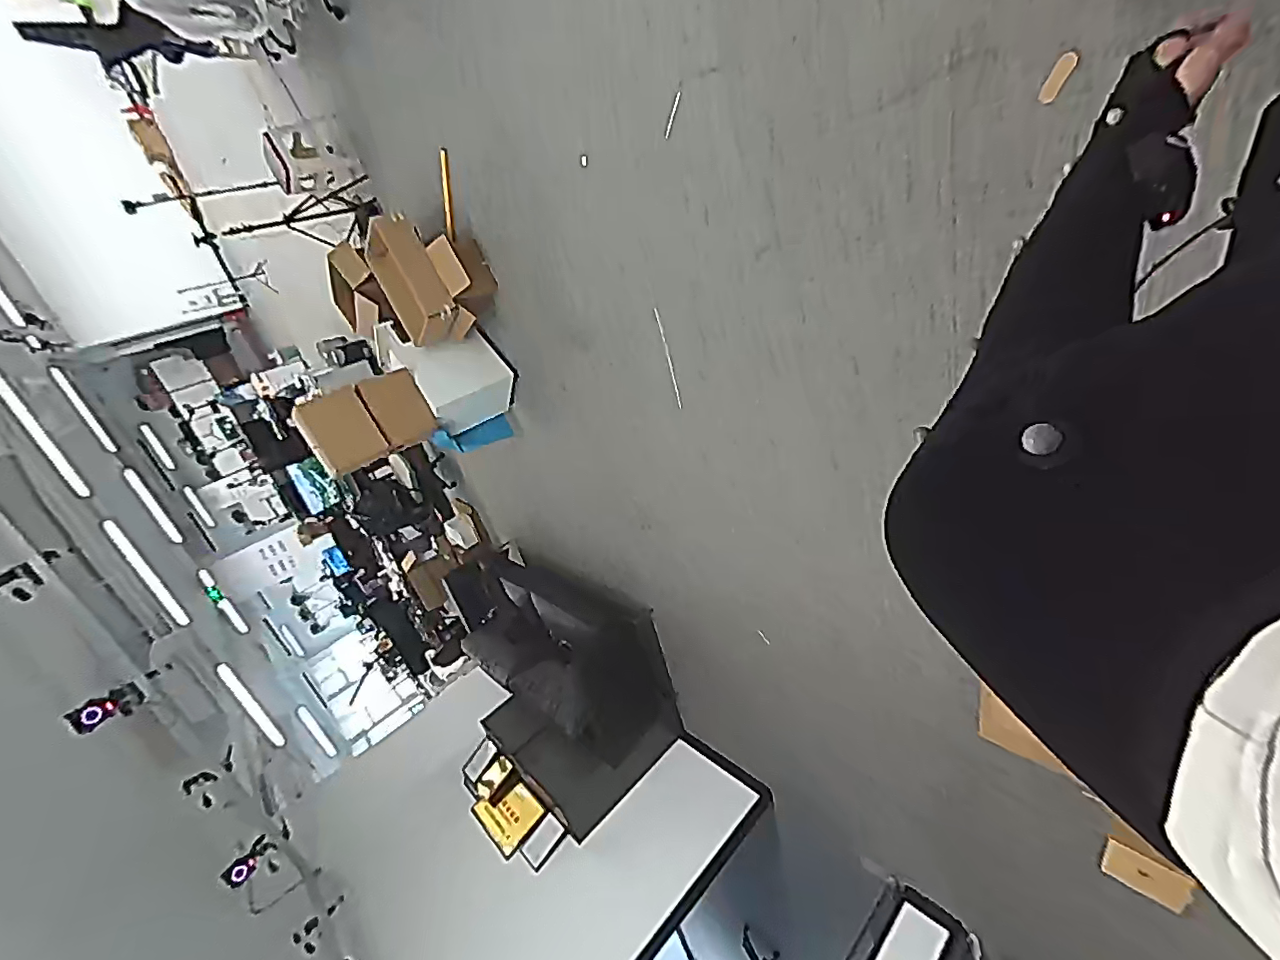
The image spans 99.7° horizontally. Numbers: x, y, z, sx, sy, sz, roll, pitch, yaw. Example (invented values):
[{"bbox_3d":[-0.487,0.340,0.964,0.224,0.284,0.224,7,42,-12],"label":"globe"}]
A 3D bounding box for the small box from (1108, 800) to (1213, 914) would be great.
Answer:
[{"bbox_3d":[1.466,1.047,1.525,0.179,0.176,0.168,16,129,46],"label":"small box"}]
